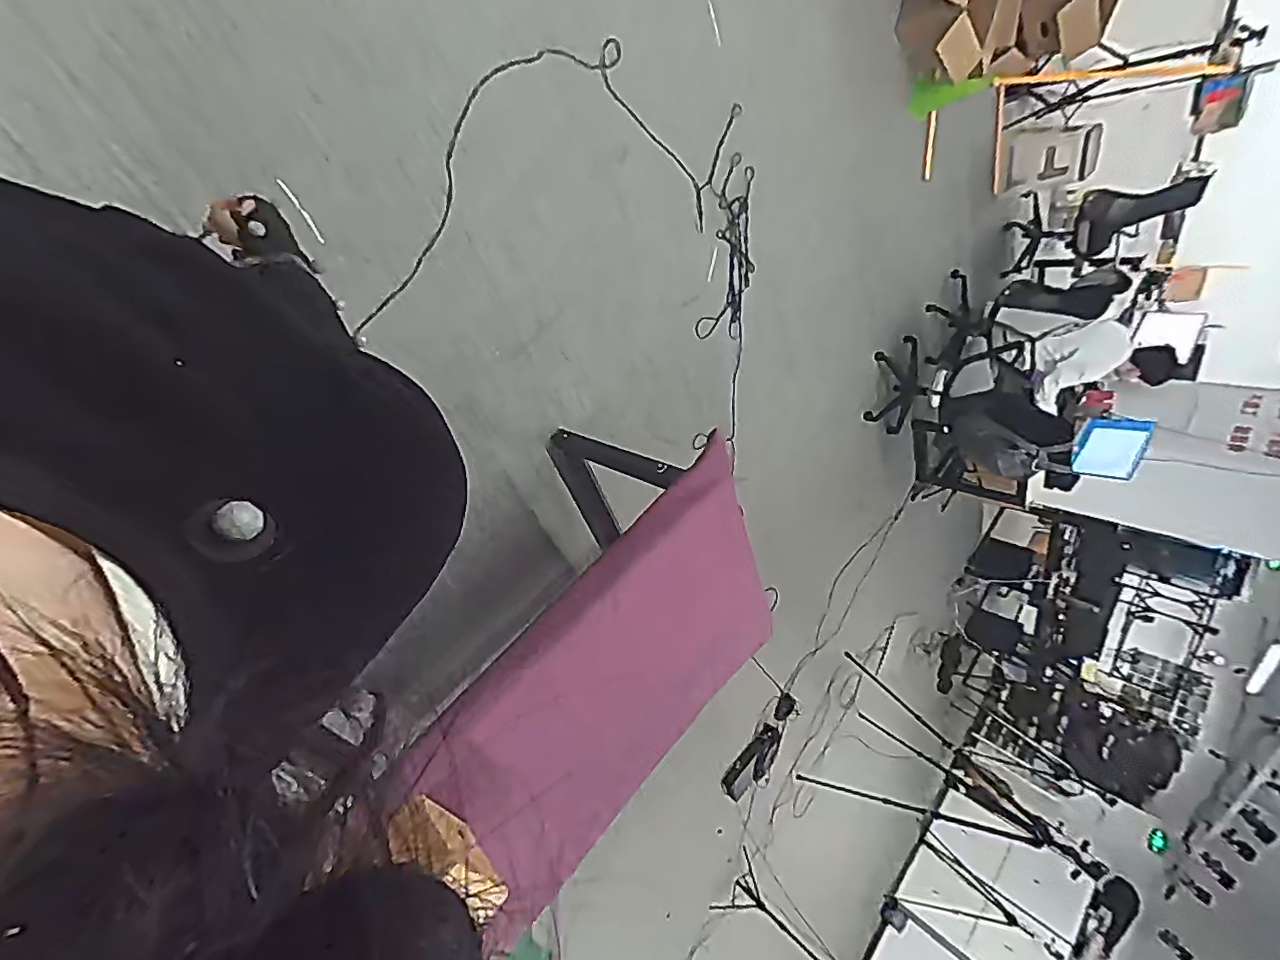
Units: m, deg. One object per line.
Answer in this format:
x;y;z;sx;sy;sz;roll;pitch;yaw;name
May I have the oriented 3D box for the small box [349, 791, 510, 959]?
-0.363;0.683;0.921;0.179;0.176;0.168;-45;129;-24;small box
